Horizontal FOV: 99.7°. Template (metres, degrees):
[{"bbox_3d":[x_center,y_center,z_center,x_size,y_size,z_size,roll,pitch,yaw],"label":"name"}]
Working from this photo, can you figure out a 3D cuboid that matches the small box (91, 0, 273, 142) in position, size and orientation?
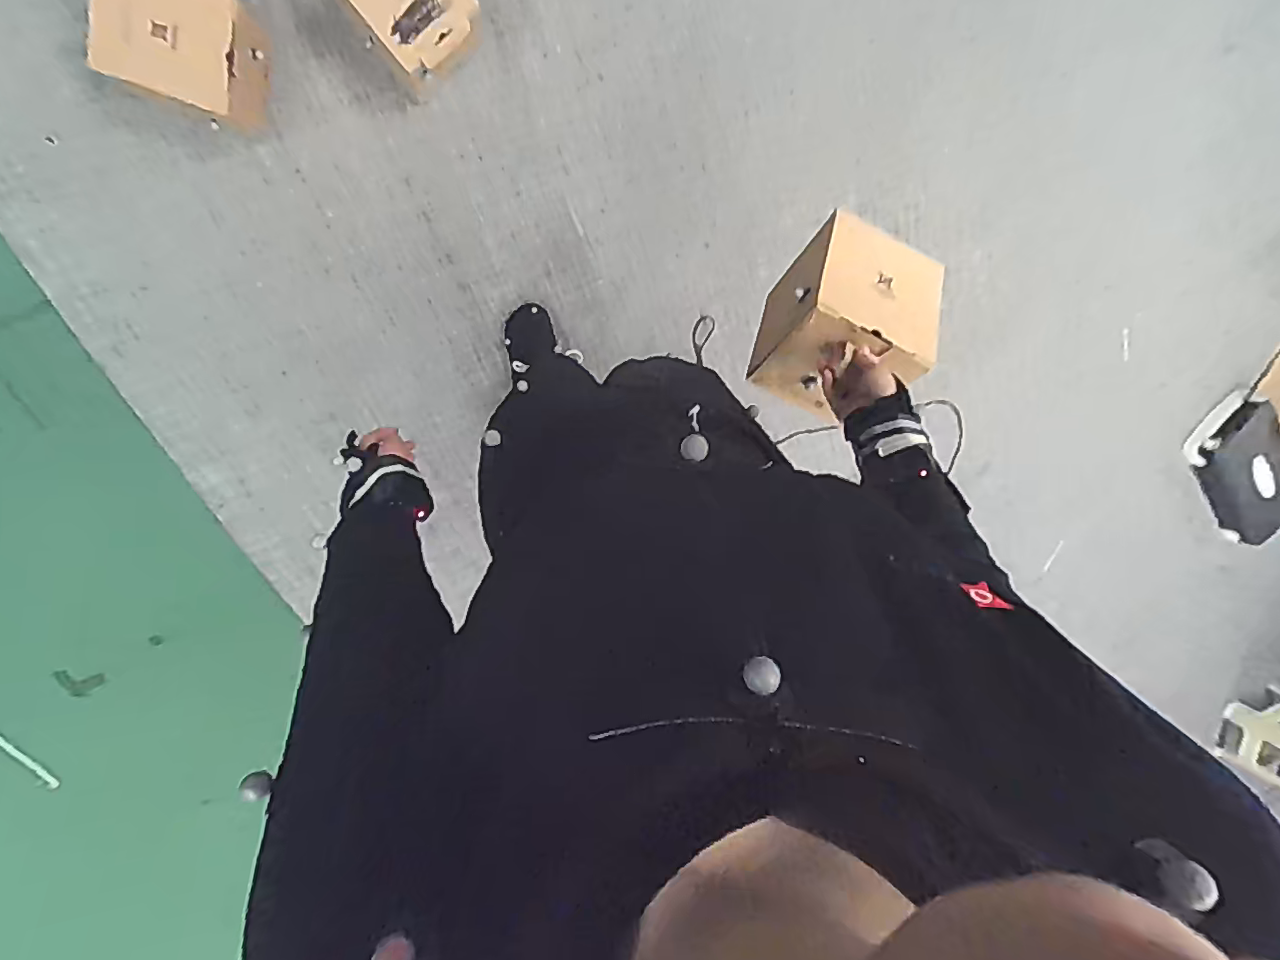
[{"bbox_3d":[-0.725,-0.678,0.875,0.179,0.176,0.168,11,103,-18],"label":"small box"}]

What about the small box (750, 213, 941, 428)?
[{"bbox_3d":[0.266,-0.202,0.719,0.168,0.176,0.179,23,63,-9],"label":"small box"}]
